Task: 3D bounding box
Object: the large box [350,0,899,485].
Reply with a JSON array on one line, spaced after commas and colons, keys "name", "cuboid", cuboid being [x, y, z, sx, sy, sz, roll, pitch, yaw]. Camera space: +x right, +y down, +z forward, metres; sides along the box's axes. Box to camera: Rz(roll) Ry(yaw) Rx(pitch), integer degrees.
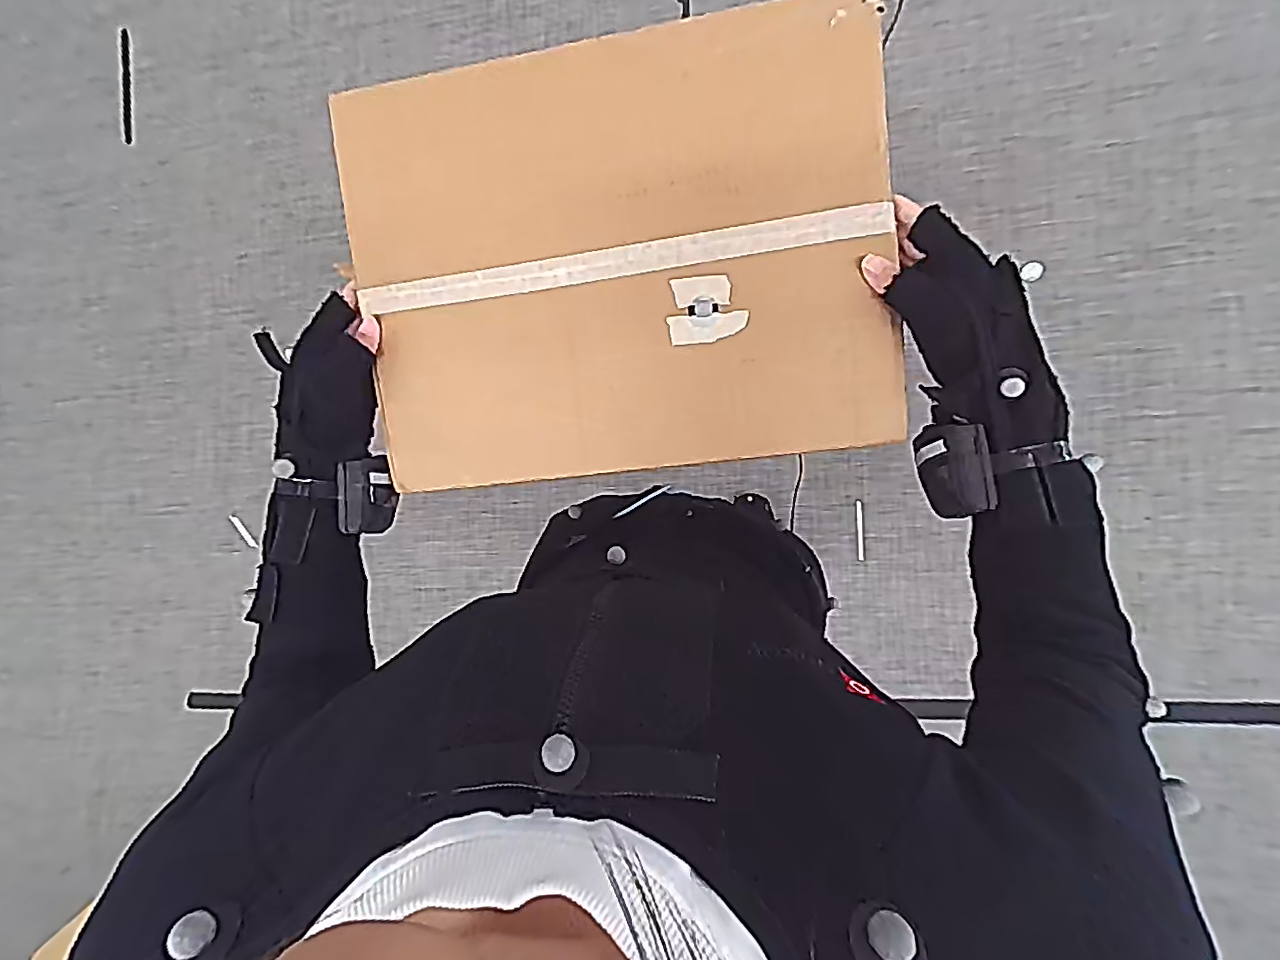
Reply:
[{"name": "large box", "cuboid": [-0.003, -0.186, 0.566, 0.408, 0.320, 0.320, -6, 97, 7]}]
